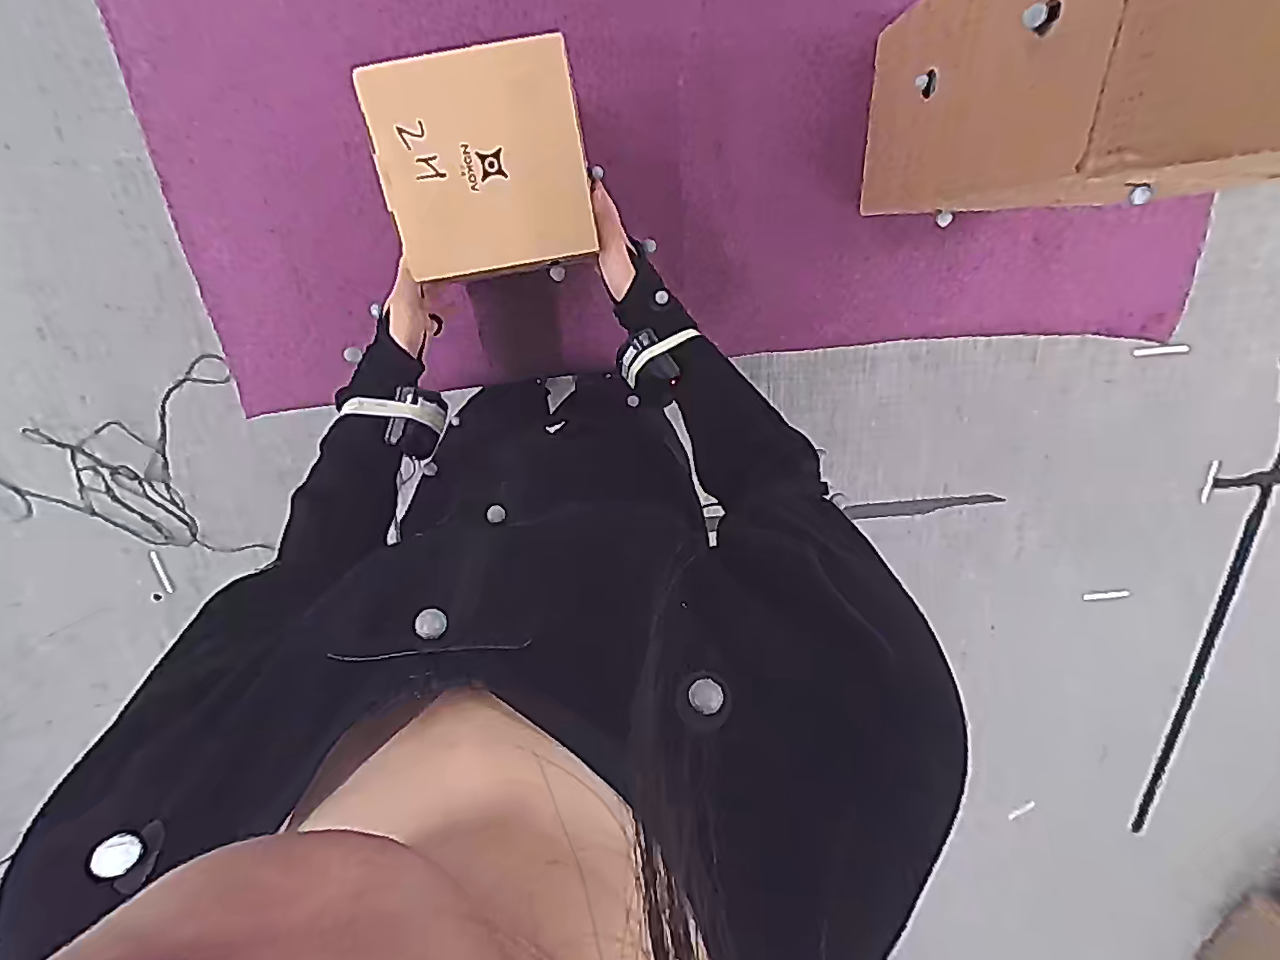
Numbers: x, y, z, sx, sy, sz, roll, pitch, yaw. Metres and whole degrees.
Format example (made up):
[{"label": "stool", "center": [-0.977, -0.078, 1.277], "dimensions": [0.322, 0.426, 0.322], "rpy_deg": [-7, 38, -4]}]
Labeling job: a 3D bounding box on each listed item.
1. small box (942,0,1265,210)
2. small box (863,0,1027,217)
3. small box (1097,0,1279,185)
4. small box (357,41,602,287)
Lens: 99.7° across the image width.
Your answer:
[{"label": "small box", "center": [0.350, -0.302, 0.386], "dimensions": [0.168, 0.176, 0.179], "rpy_deg": [-1, 111, -2]}, {"label": "small box", "center": [0.341, -0.367, 0.536], "dimensions": [0.168, 0.176, 0.179], "rpy_deg": [-3, 112, -1]}, {"label": "small box", "center": [0.359, -0.235, 0.237], "dimensions": [0.168, 0.176, 0.179], "rpy_deg": [-1, 111, -2]}, {"label": "small box", "center": [-0.136, -0.292, 0.536], "dimensions": [0.179, 0.176, 0.168], "rpy_deg": [-9, 110, 1]}]
